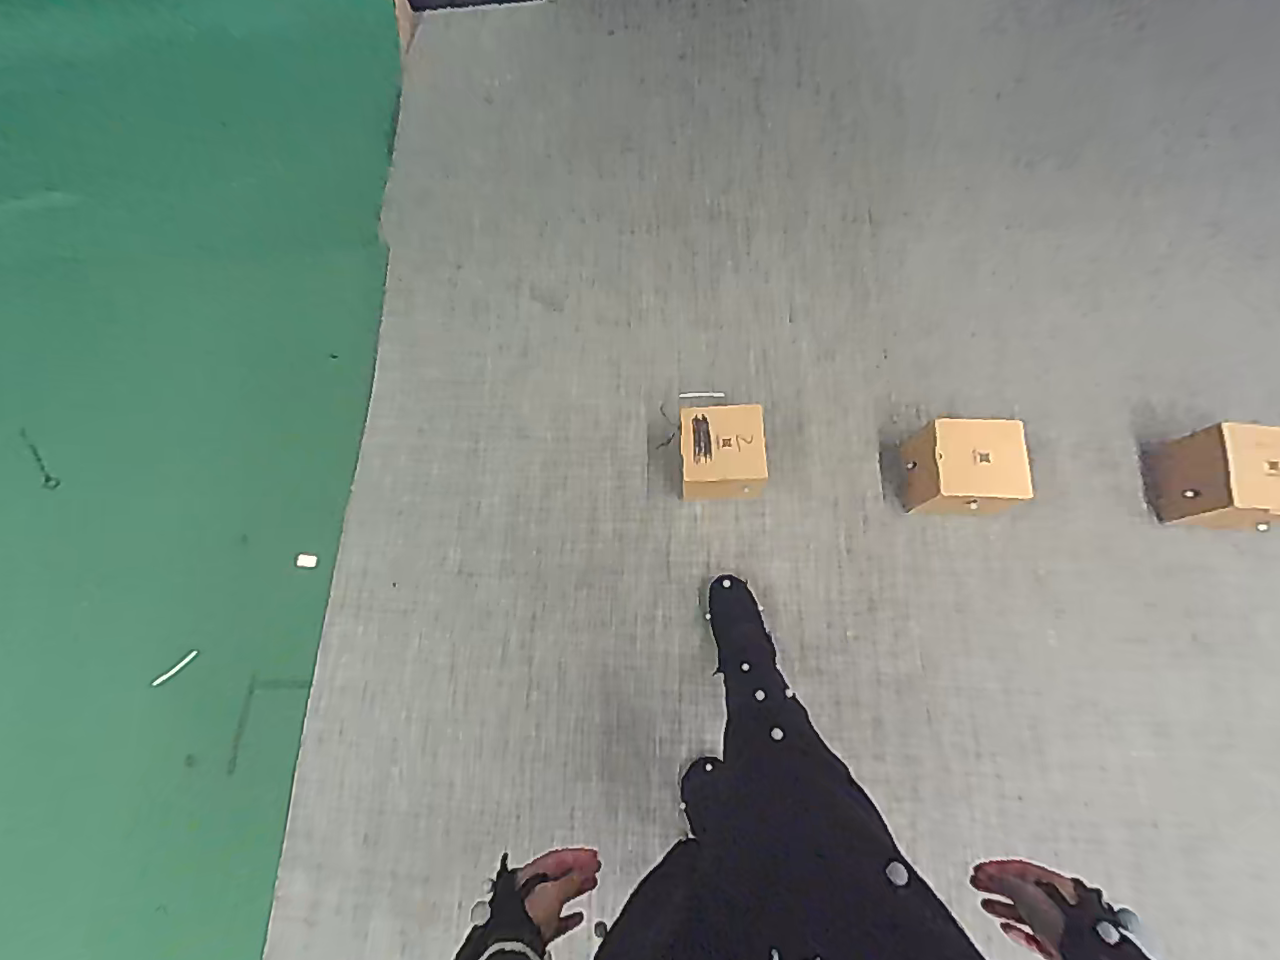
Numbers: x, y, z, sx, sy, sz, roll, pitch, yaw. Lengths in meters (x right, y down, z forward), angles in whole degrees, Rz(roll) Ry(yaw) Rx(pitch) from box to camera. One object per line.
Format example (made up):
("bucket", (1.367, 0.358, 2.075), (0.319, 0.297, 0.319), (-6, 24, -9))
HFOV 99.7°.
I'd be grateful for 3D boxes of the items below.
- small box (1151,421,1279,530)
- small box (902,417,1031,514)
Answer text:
("small box", (1.205, -0.002, 1.104), (0.168, 0.176, 0.179), (6, 74, 5))
("small box", (0.685, -0.026, 1.153), (0.179, 0.176, 0.168), (2, 75, 6))
